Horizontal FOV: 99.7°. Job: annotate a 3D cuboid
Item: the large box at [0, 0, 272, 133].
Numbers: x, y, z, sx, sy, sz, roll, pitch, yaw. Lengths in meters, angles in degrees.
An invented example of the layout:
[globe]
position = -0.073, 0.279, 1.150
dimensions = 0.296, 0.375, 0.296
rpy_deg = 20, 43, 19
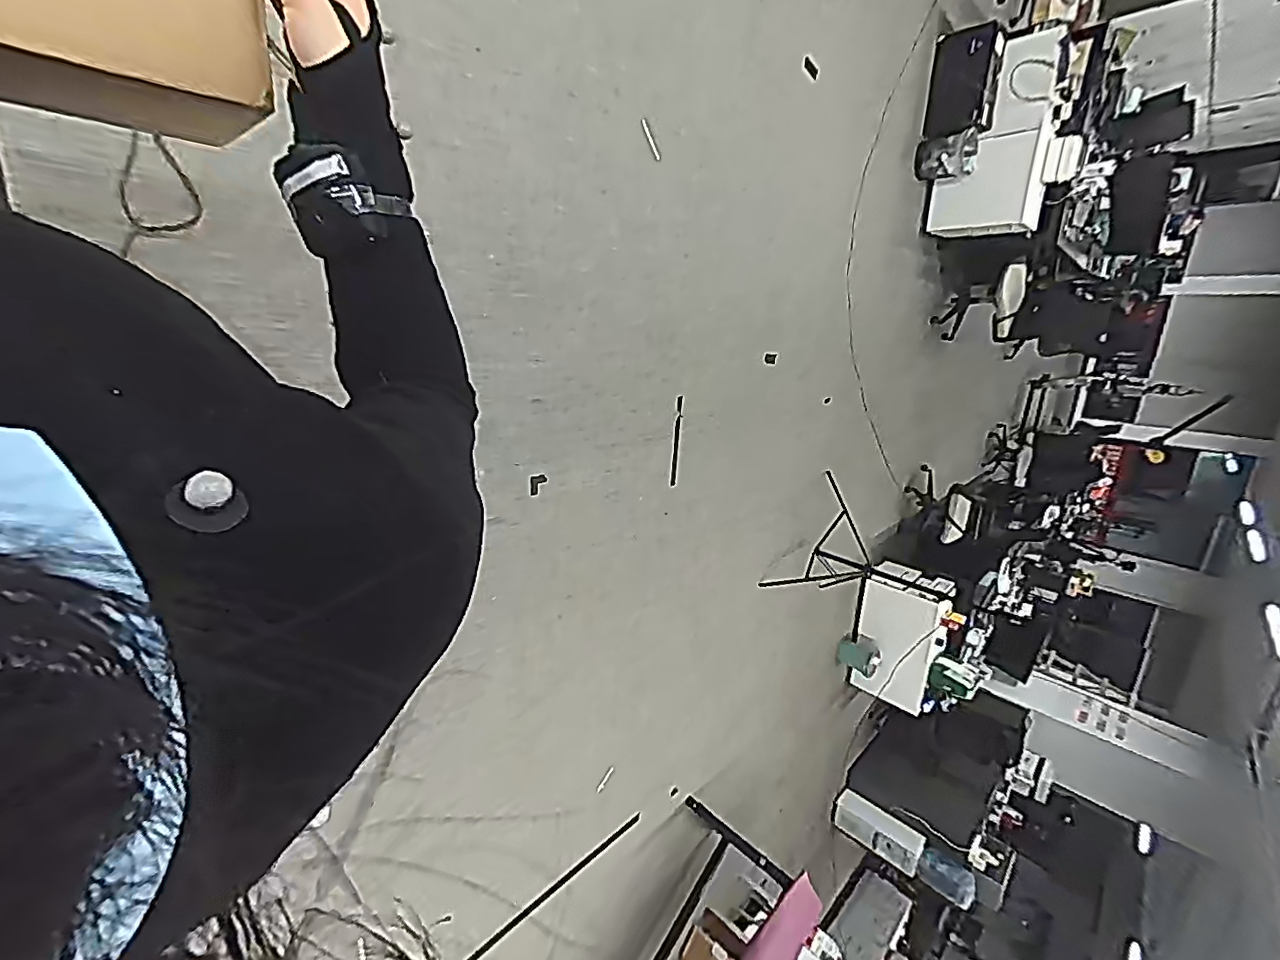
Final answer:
[large box]
position = -0.495, -0.439, 0.320
dimensions = 0.408, 0.320, 0.320
rpy_deg = -10, 116, -39
